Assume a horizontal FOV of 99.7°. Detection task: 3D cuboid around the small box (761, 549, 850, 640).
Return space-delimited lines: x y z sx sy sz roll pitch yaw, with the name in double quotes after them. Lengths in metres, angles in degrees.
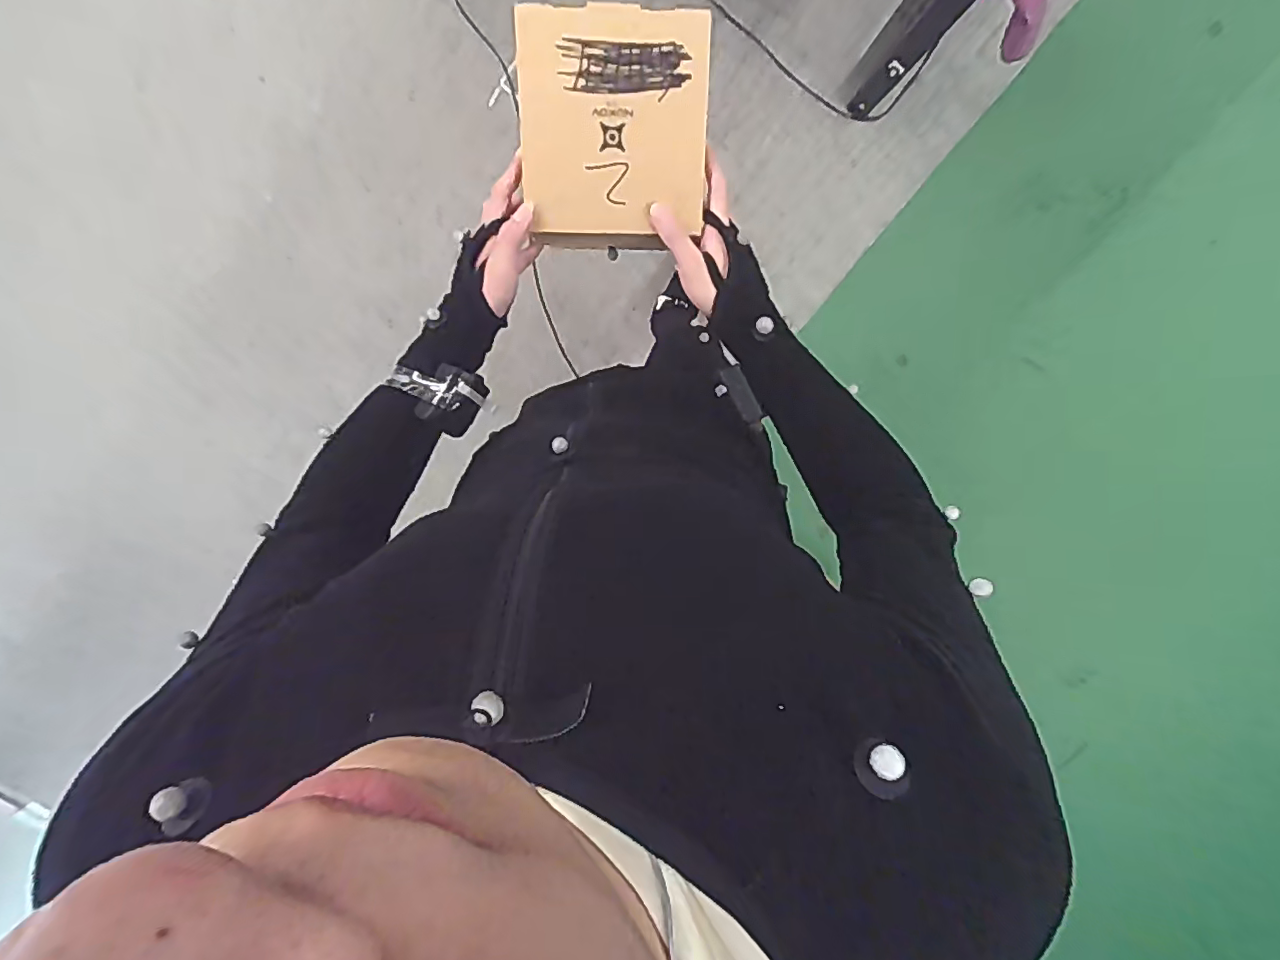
0.493 0.340 1.636 0.179 0.176 0.168 39 105 -8 "small box"
